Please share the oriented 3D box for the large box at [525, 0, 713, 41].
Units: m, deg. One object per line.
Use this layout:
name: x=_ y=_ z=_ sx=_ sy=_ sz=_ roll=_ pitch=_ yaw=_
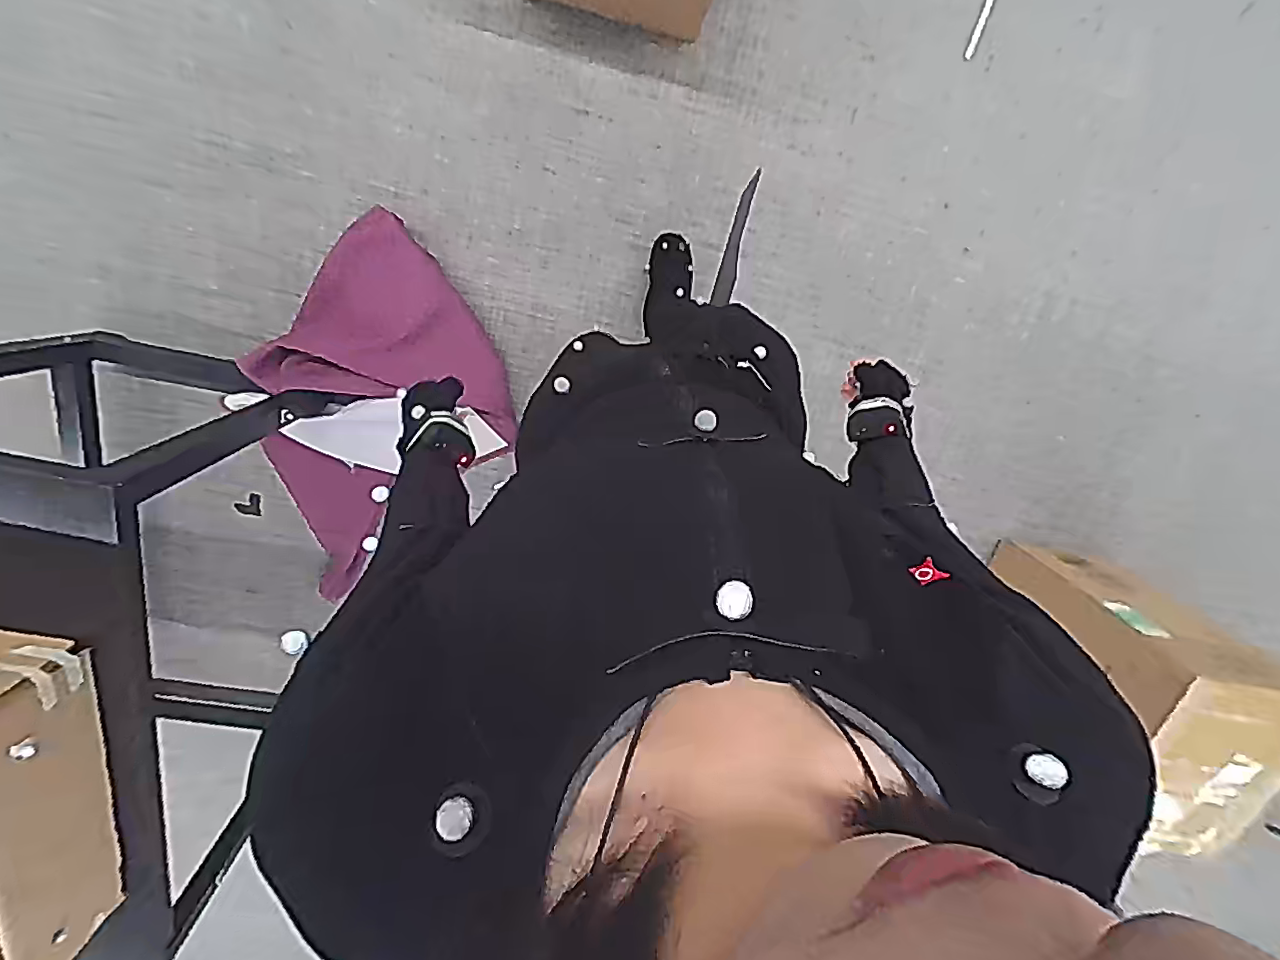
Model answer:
large box: x=-0.034 y=-1.073 z=0.972 sx=0.408 sy=0.320 sz=0.320 roll=9 pitch=111 yaw=-8
